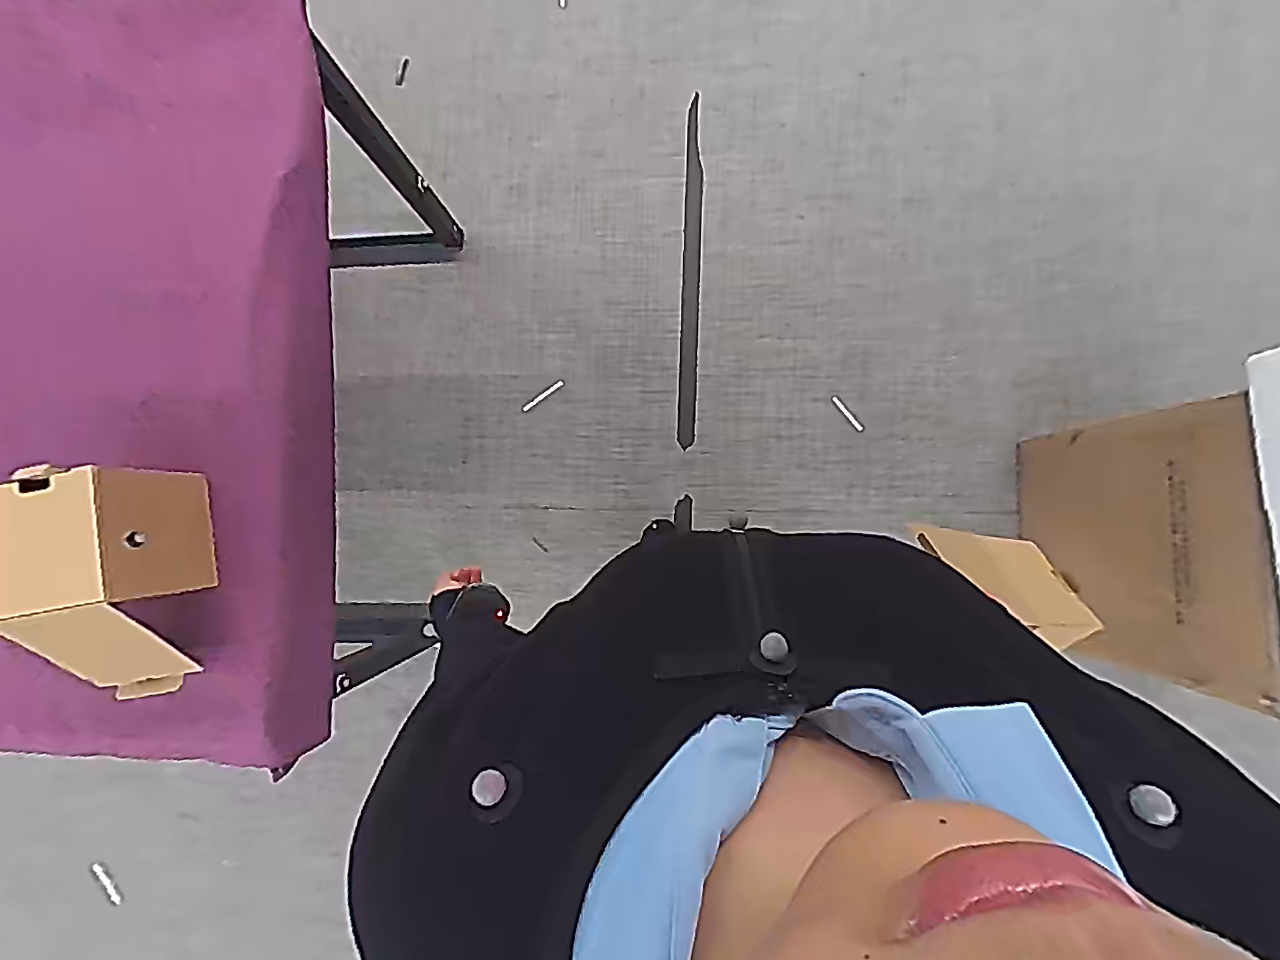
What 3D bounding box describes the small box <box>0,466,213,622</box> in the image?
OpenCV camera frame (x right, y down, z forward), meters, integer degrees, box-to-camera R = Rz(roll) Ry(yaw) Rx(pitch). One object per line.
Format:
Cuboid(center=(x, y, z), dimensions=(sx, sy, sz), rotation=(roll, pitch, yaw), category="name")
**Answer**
Cuboid(center=(-0.737, 0.084, 0.748), dimensions=(0.168, 0.176, 0.179), rotation=(-10, 85, 3), category="small box")
